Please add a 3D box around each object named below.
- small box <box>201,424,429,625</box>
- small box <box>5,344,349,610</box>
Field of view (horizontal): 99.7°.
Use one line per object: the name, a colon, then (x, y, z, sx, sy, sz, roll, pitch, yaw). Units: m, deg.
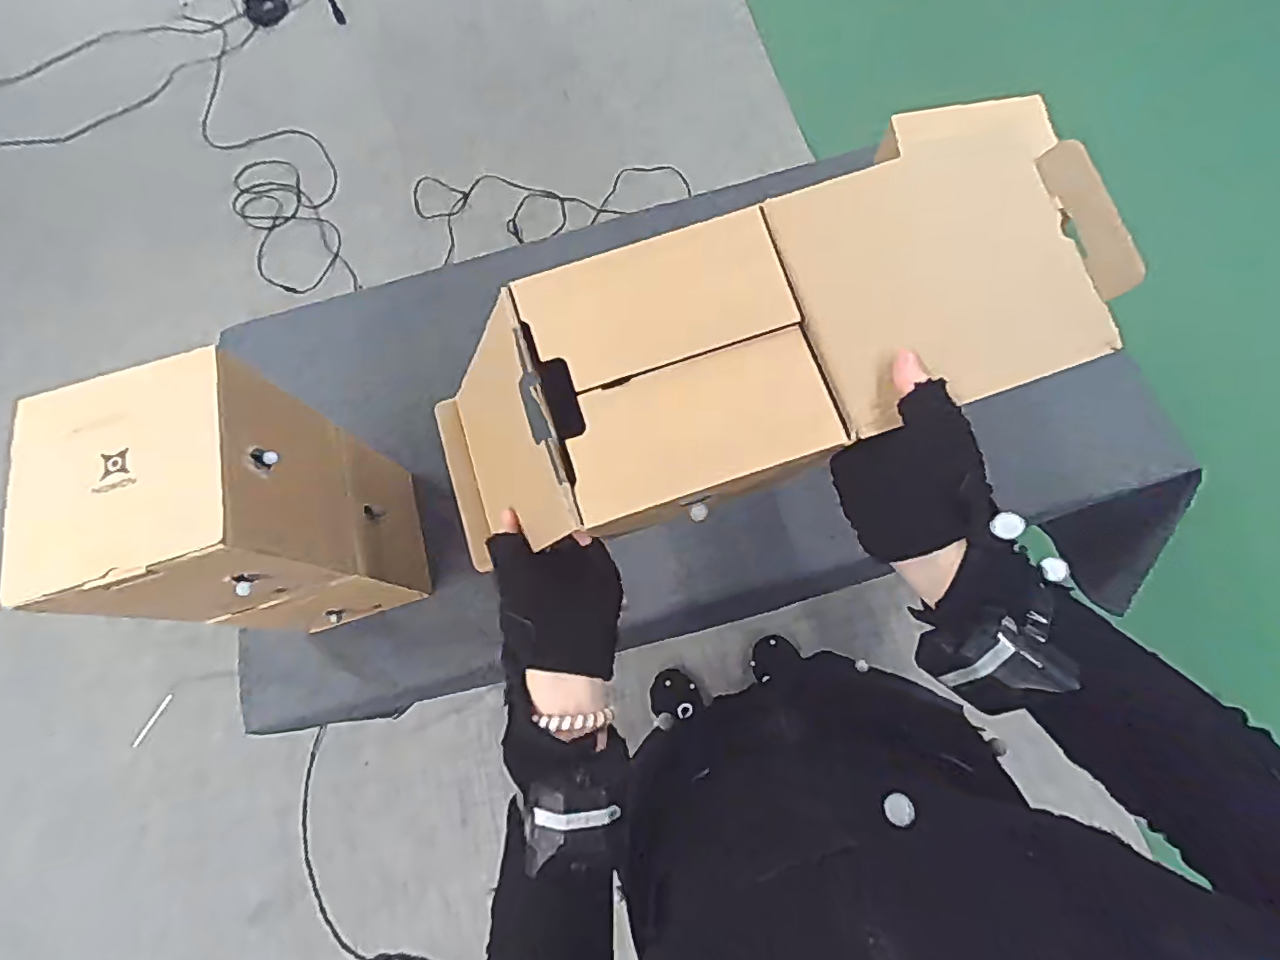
small box: (-0.374, 0.062, 0.641, 0.168, 0.176, 0.179, -18, 72, -1)
small box: (-0.388, 0.013, 0.486, 0.168, 0.176, 0.179, -16, 72, -1)
